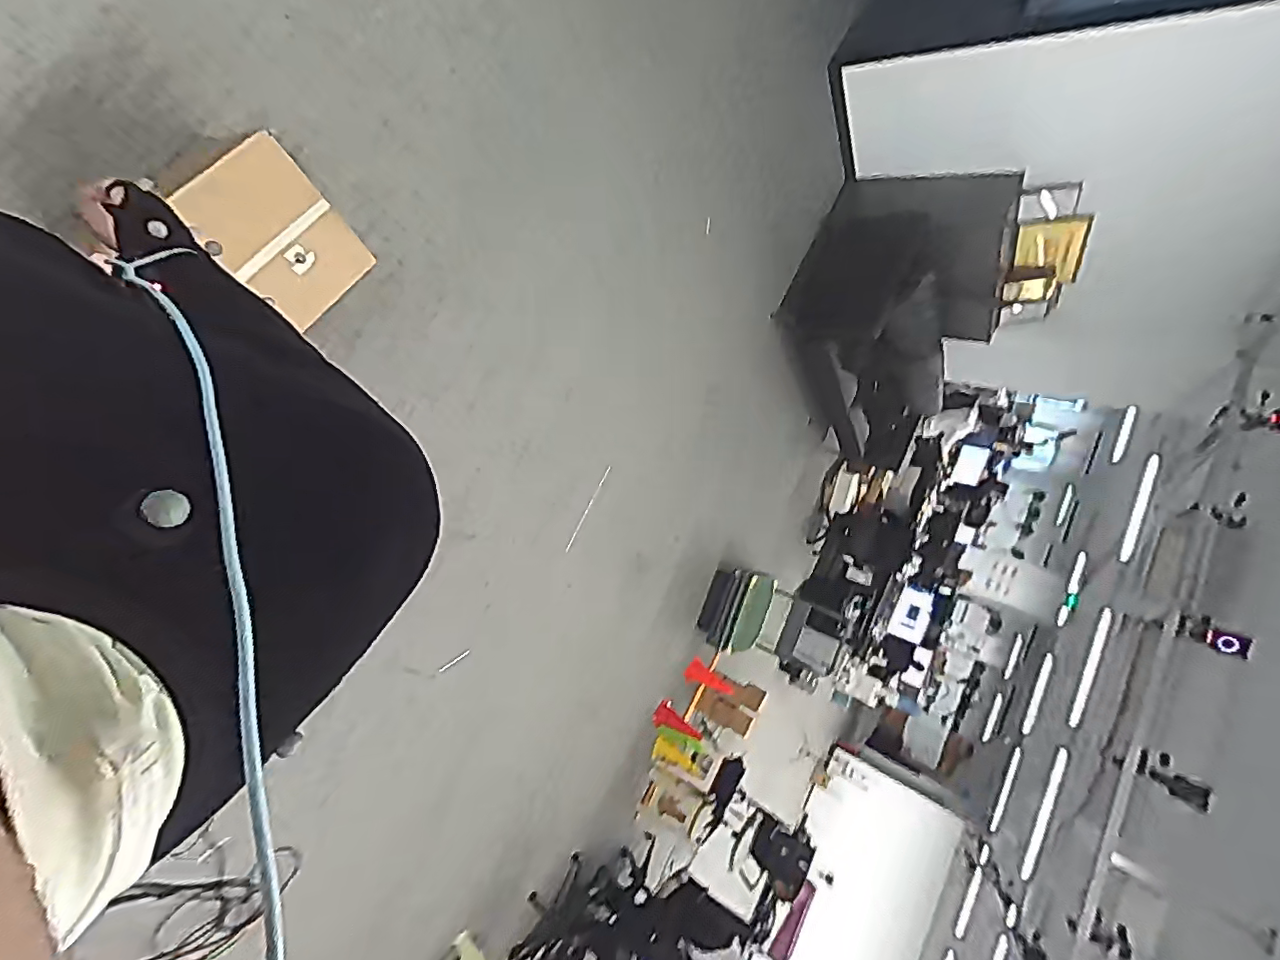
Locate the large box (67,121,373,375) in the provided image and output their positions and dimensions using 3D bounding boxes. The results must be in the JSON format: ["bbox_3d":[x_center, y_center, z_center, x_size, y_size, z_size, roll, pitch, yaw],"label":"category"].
[{"bbox_3d":[-0.901,-0.497,1.187,0.408,0.320,0.320,-57,144,-20],"label":"large box"}]
